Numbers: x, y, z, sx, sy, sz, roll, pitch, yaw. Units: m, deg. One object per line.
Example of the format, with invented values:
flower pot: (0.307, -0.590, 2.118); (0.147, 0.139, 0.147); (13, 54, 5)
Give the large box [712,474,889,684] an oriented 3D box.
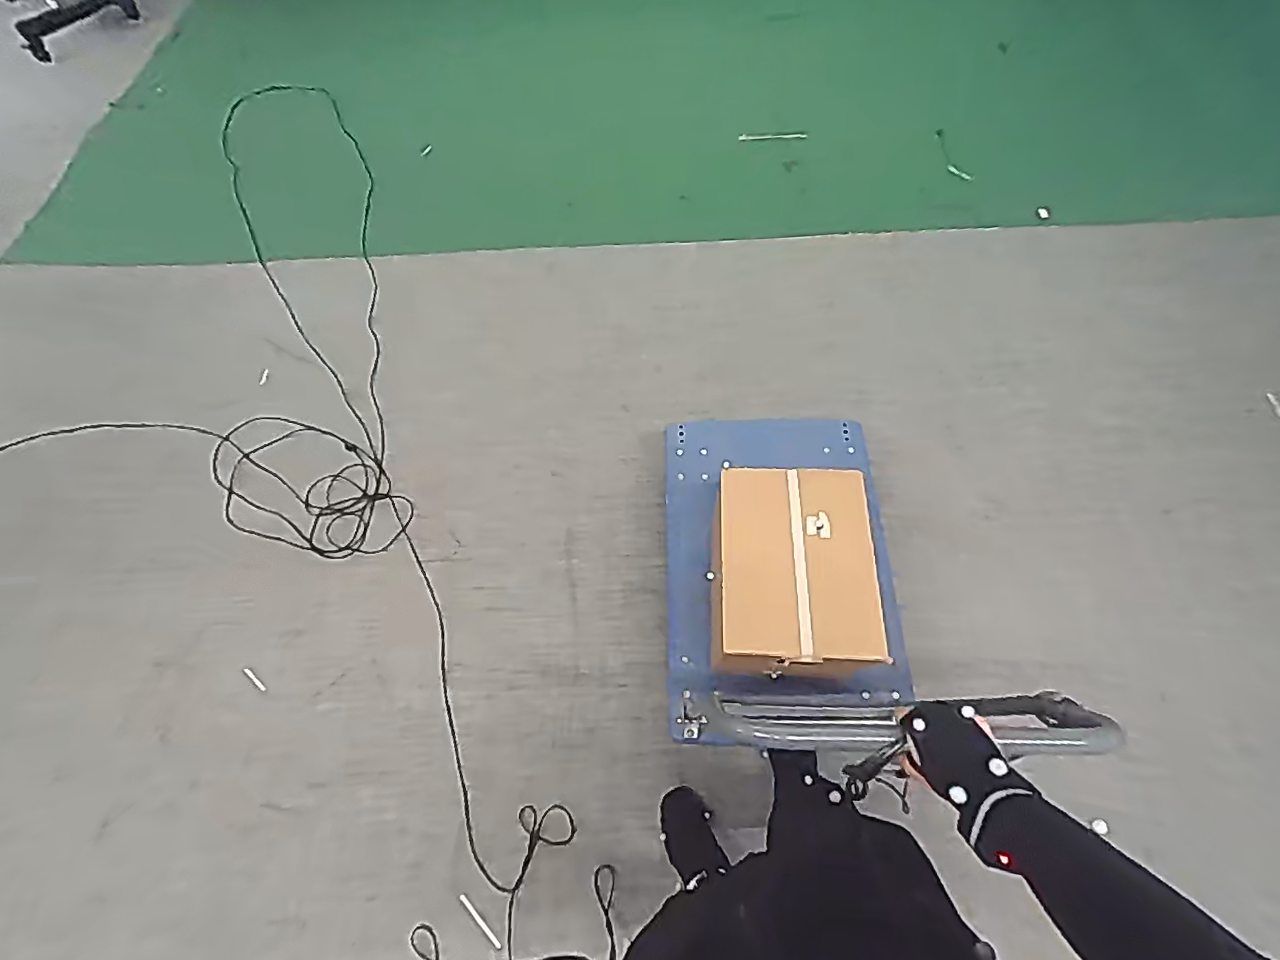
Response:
large box: (0.329, 0.235, 1.235); (0.320, 0.320, 0.408); (2, 63, 3)
